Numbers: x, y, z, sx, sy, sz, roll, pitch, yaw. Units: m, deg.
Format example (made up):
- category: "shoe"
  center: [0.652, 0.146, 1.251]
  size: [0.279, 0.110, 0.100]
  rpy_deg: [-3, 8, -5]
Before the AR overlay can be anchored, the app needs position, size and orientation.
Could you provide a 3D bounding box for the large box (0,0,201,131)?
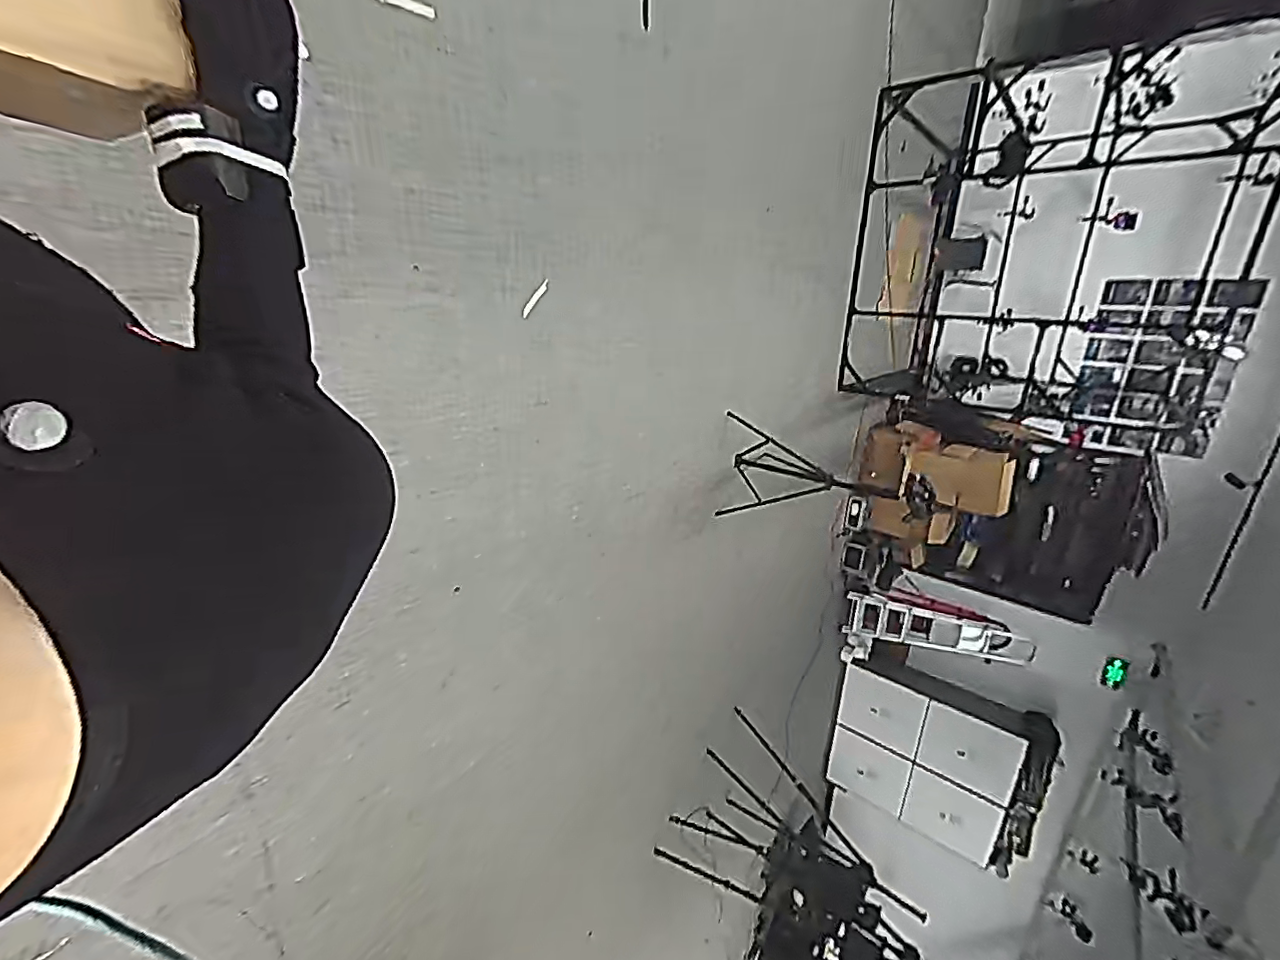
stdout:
- category: "large box"
  center: [-0.559, -0.446, 0.302]
  size: [0.408, 0.320, 0.320]
  rpy_deg: [-14, 117, -52]
